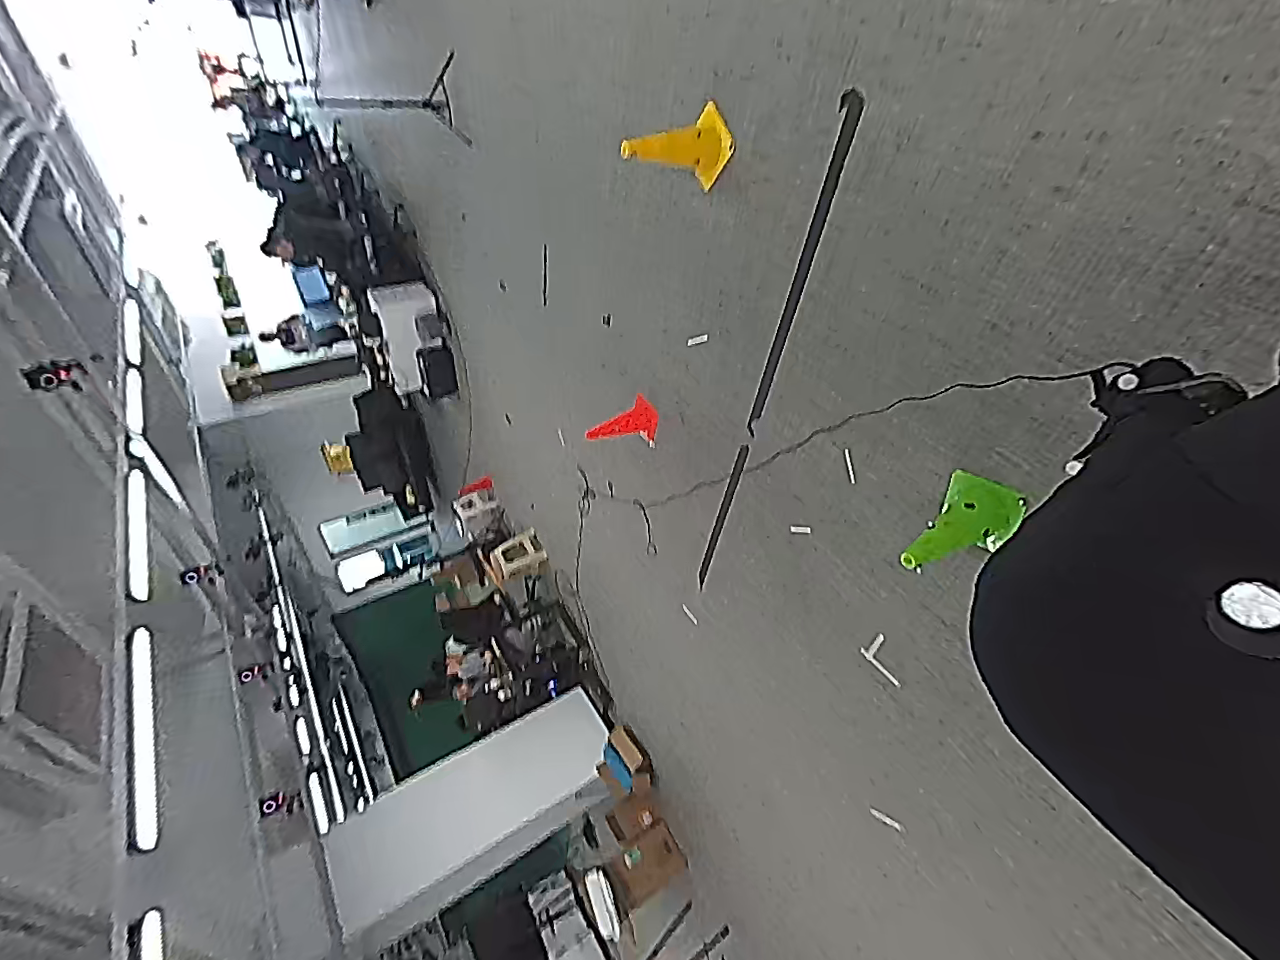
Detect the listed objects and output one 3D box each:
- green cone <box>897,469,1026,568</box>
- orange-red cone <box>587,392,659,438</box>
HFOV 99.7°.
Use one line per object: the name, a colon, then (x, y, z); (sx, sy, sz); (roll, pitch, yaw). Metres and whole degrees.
green cone: (0.808, 0.140, 1.433); (0.200, 0.368, 0.202); (36, 139, 47)
orange-red cone: (-0.110, -0.292, 2.783); (0.198, 0.360, 0.199); (52, 147, 28)
